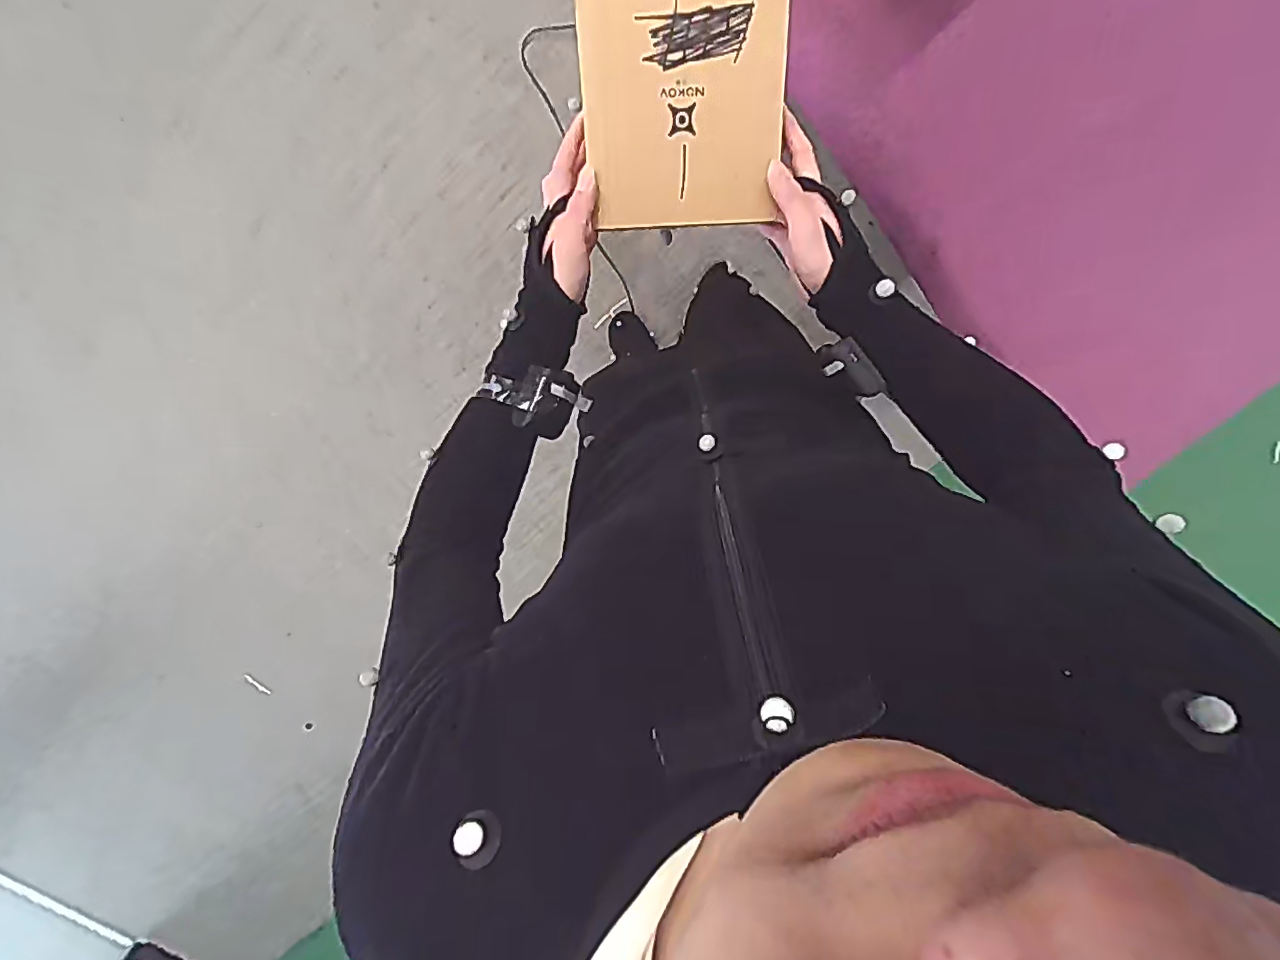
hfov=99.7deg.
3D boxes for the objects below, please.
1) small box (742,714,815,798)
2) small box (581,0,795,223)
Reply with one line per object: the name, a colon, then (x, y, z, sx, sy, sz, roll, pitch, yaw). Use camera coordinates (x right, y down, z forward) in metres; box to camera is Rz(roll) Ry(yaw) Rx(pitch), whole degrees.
small box: (0.487, 0.977, 1.922, 0.168, 0.176, 0.179, -38, 106, 11)
small box: (0.033, -0.339, 0.504, 0.168, 0.176, 0.179, -3, 116, -1)
